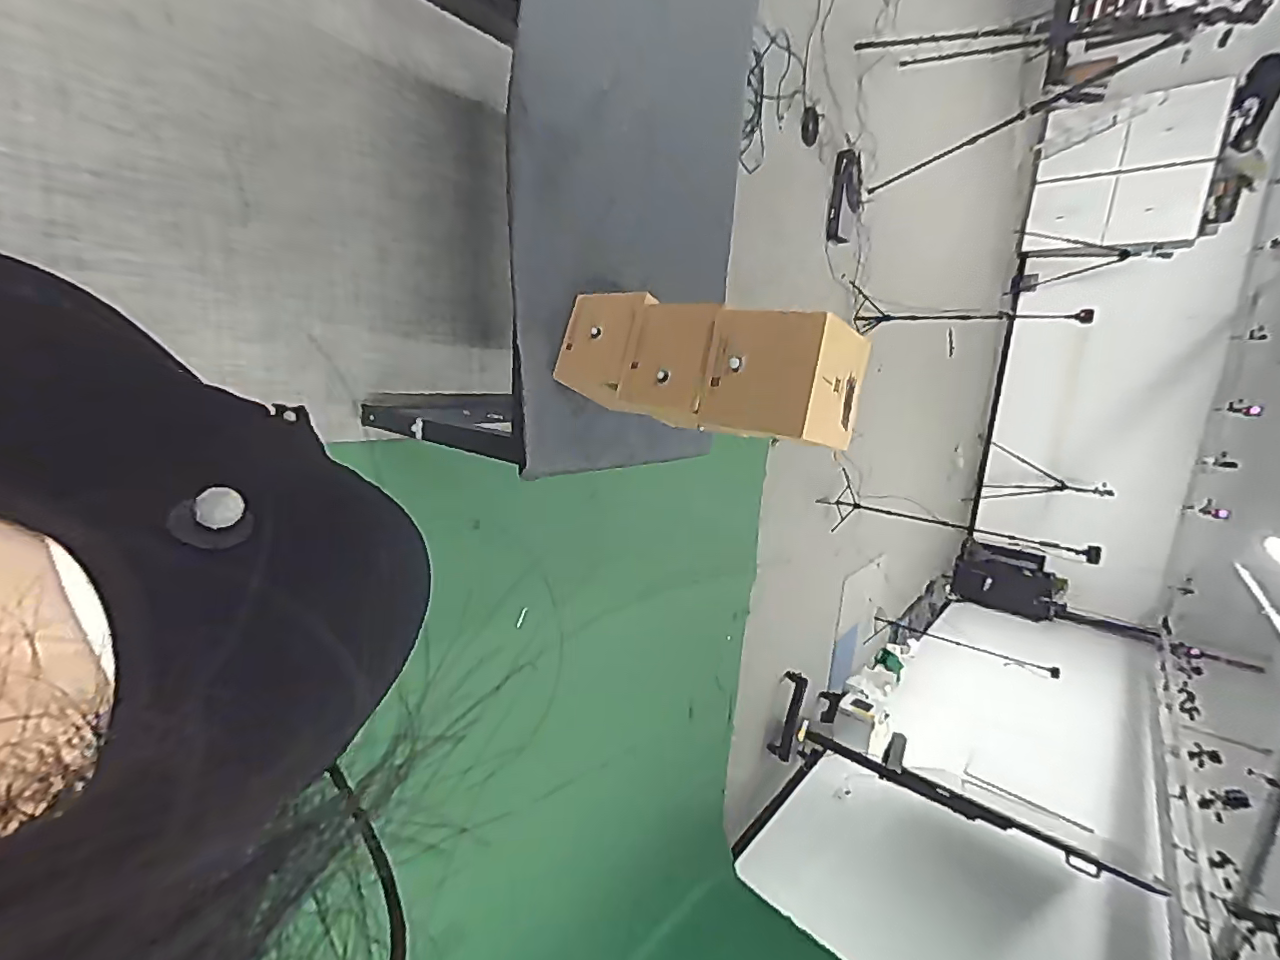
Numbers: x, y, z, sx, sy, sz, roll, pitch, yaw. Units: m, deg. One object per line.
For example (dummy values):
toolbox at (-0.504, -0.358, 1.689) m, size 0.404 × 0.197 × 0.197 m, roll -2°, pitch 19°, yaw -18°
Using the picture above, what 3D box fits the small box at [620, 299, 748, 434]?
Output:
small box at (0.092, -0.182, 0.891) m, size 0.179 × 0.176 × 0.168 m, roll 14°, pitch 90°, yaw -52°

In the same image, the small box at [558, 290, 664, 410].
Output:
small box at (-0.023, -0.229, 0.997) m, size 0.179 × 0.176 × 0.168 m, roll 22°, pitch 83°, yaw -52°

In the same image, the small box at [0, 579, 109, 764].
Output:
small box at (-0.897, 0.267, 0.747) m, size 0.168 × 0.176 × 0.179 m, roll -39°, pitch 127°, yaw -37°

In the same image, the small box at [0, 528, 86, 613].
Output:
small box at (-1.147, 0.192, 0.948) m, size 0.168 × 0.176 × 0.179 m, roll -56°, pitch 136°, yaw -24°

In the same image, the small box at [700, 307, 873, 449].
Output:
small box at (0.212, -0.146, 0.784) m, size 0.179 × 0.176 × 0.168 m, roll 4°, pitch 97°, yaw -50°
